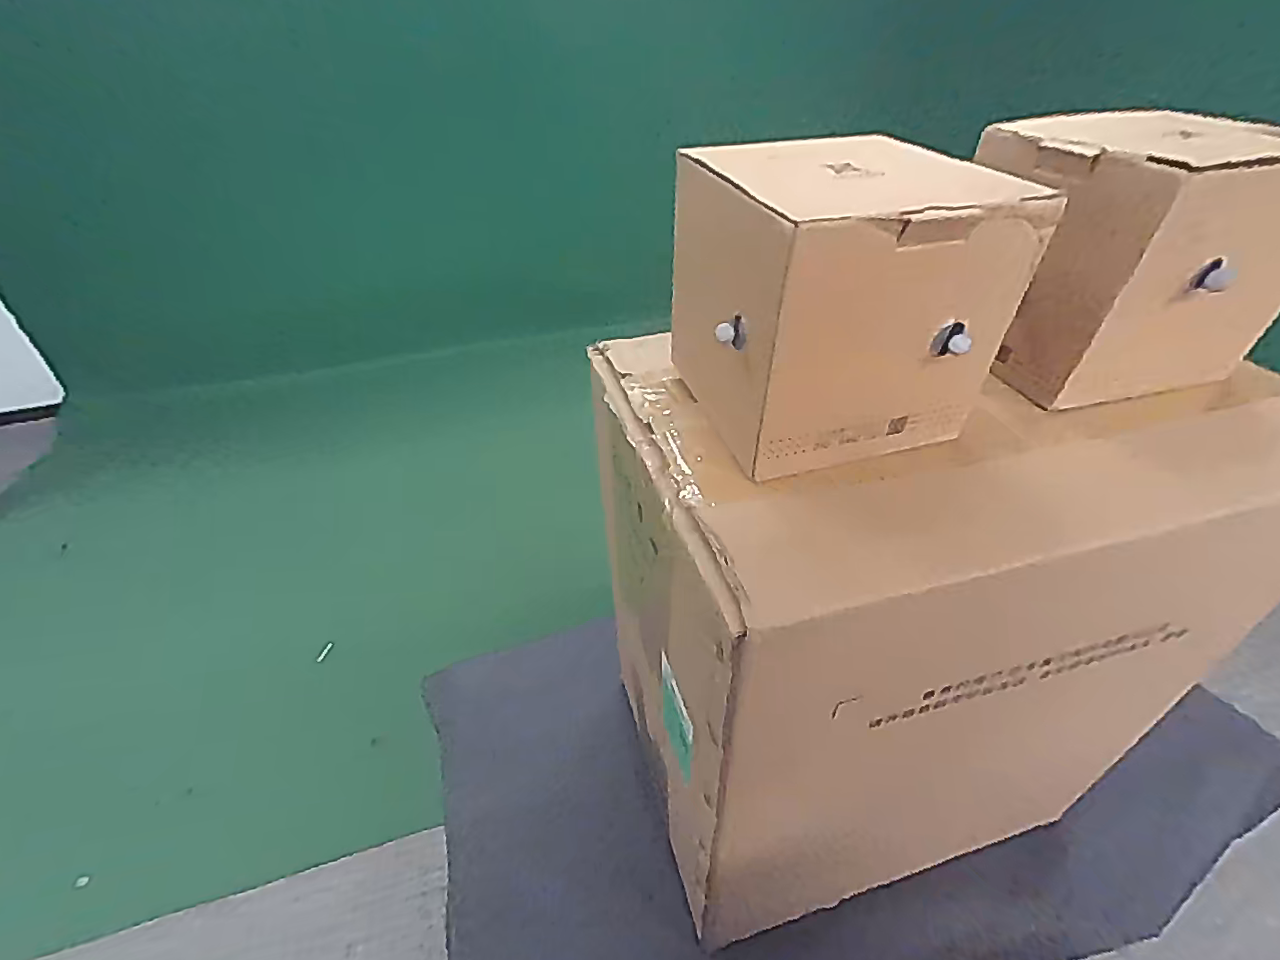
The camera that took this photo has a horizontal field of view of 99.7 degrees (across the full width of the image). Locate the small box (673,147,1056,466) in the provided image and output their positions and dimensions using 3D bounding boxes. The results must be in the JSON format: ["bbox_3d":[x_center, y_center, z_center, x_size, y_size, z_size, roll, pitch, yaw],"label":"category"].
[{"bbox_3d":[0.127,-0.124,0.389,0.168,0.176,0.179,-11,41,-12],"label":"small box"}]

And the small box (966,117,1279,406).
[{"bbox_3d":[0.374,-0.177,0.437,0.179,0.176,0.168,-12,42,-10],"label":"small box"}]
